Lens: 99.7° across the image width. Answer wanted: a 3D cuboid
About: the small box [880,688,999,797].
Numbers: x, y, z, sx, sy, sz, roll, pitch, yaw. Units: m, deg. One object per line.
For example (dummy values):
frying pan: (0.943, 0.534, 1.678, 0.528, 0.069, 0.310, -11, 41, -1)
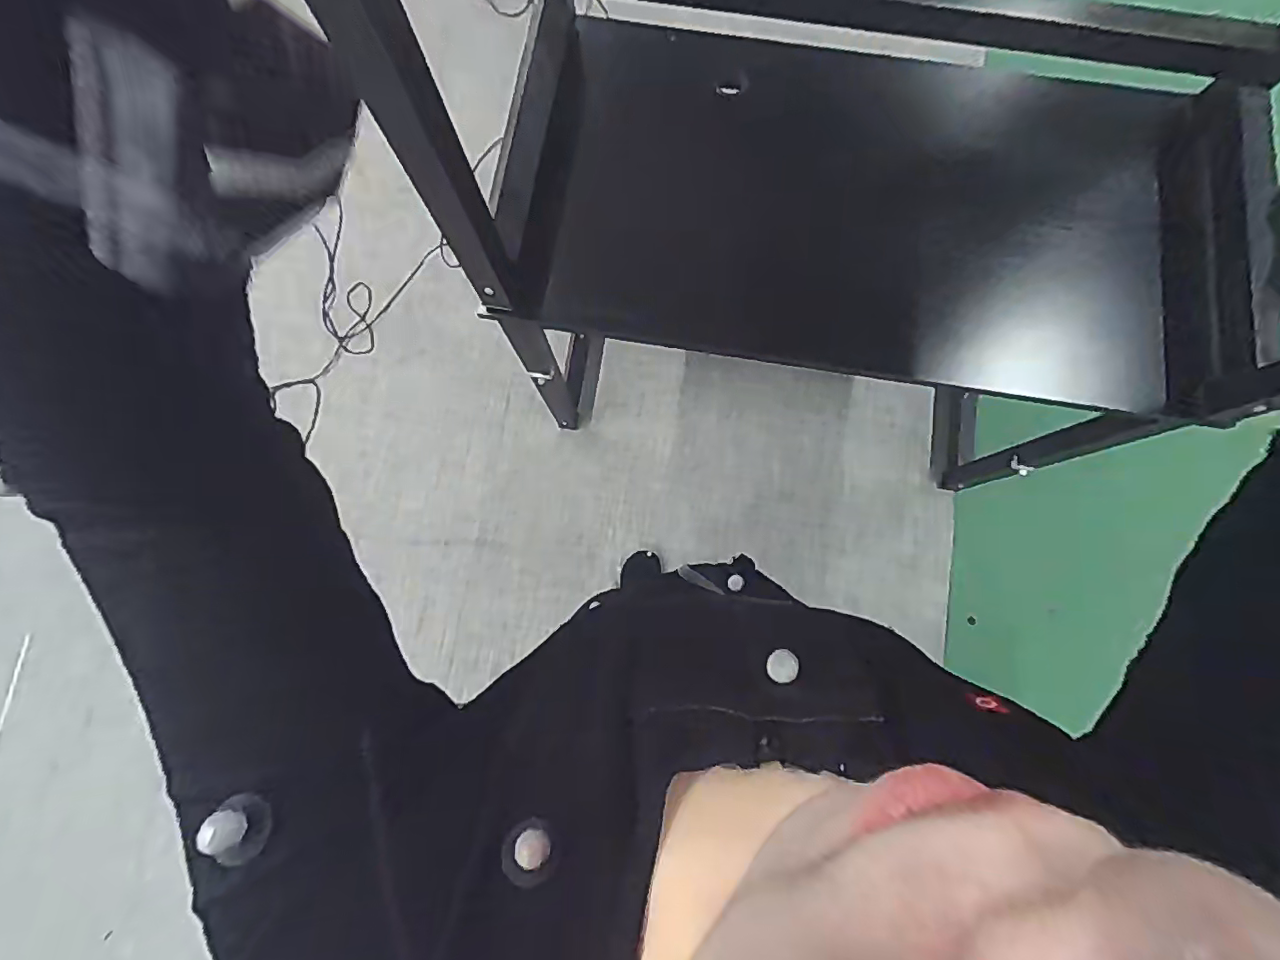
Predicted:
small box: (0.653, 0.569, 1.196, 0.179, 0.176, 0.168, 9, 80, 1)
